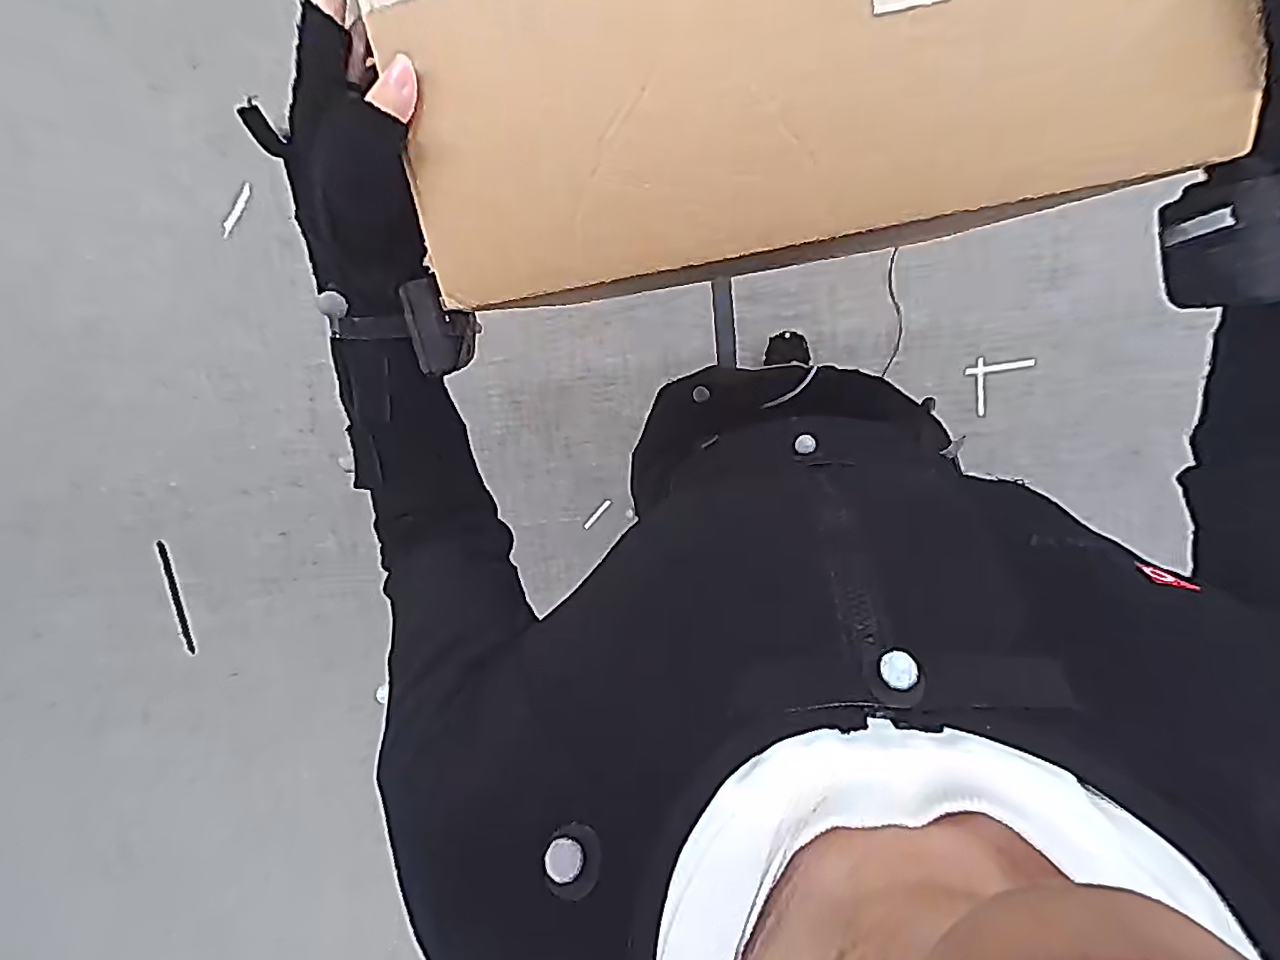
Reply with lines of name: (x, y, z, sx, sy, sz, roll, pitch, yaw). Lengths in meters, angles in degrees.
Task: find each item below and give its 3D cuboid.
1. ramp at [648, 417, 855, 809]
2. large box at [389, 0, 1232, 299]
ramp: (0.279, 0.345, 1.413, 0.509, 0.206, 0.991, -4, 99, 10)
large box: (0.074, -0.329, 0.392, 0.408, 0.320, 0.320, -8, 108, 9)
